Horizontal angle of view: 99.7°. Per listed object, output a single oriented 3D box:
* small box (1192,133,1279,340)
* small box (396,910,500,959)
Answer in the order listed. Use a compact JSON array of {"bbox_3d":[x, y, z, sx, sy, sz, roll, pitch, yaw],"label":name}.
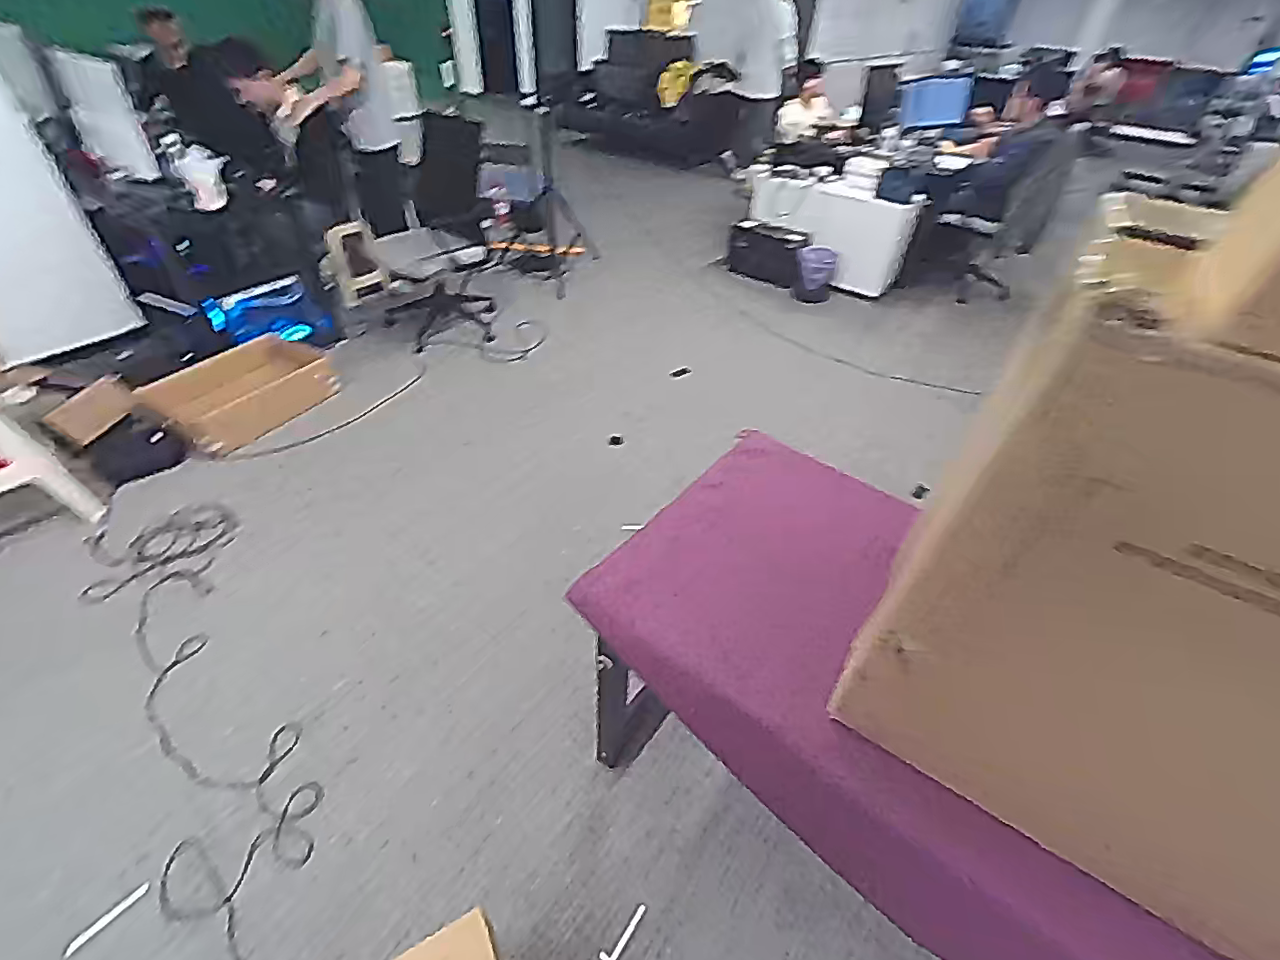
[{"bbox_3d":[0.473,-0.167,0.308,0.168,0.176,0.179,27,47,22],"label":"small box"},{"bbox_3d":[-0.305,0.861,0.883,0.168,0.176,0.179,-19,46,-25],"label":"small box"}]
